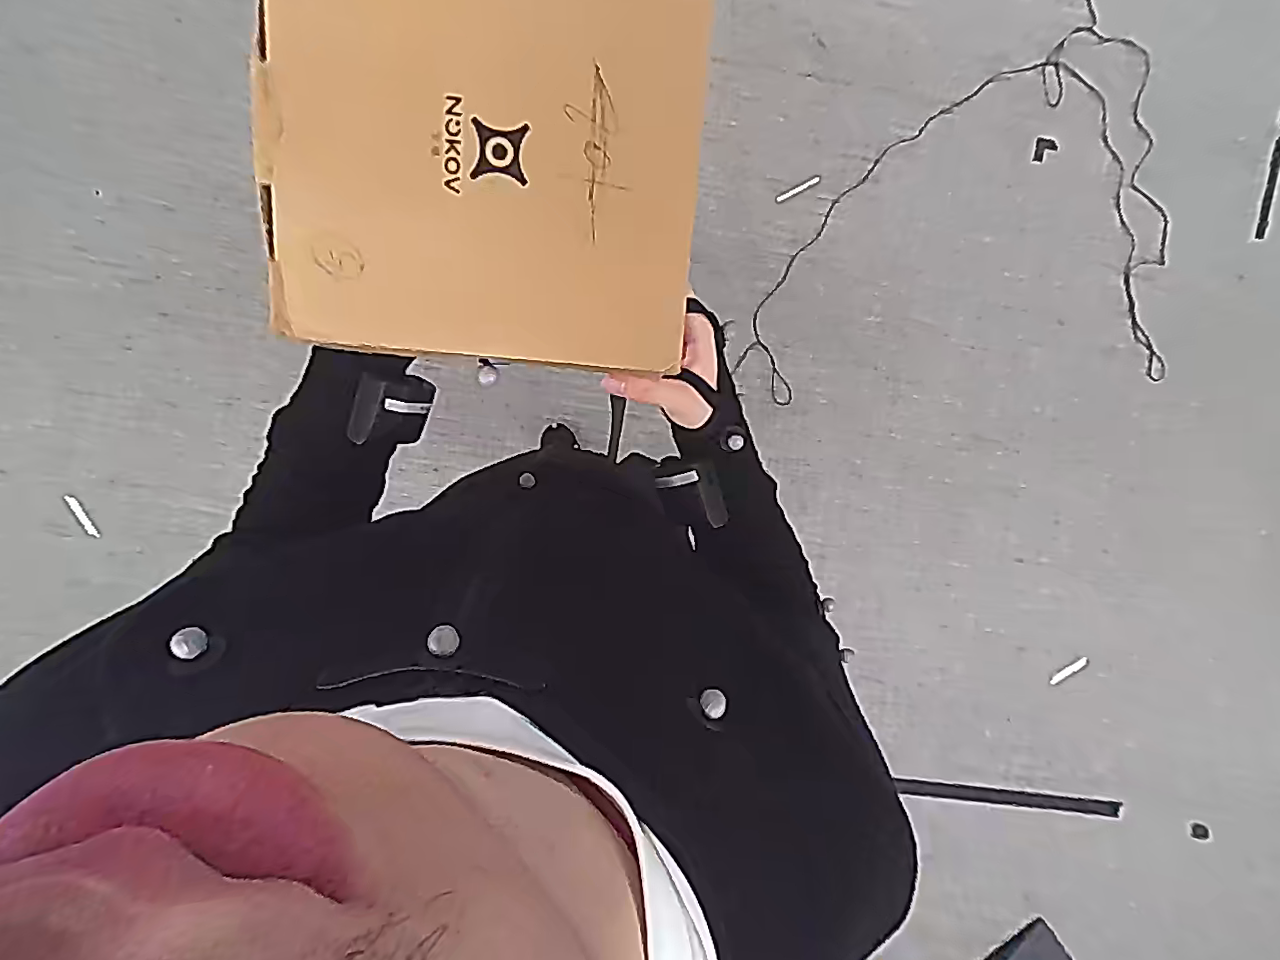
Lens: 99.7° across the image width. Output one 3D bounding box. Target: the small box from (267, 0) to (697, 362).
[{"bbox_3d":[-0.074,-0.158,0.311,0.179,0.176,0.168,2,101,-7],"label":"small box"}]
